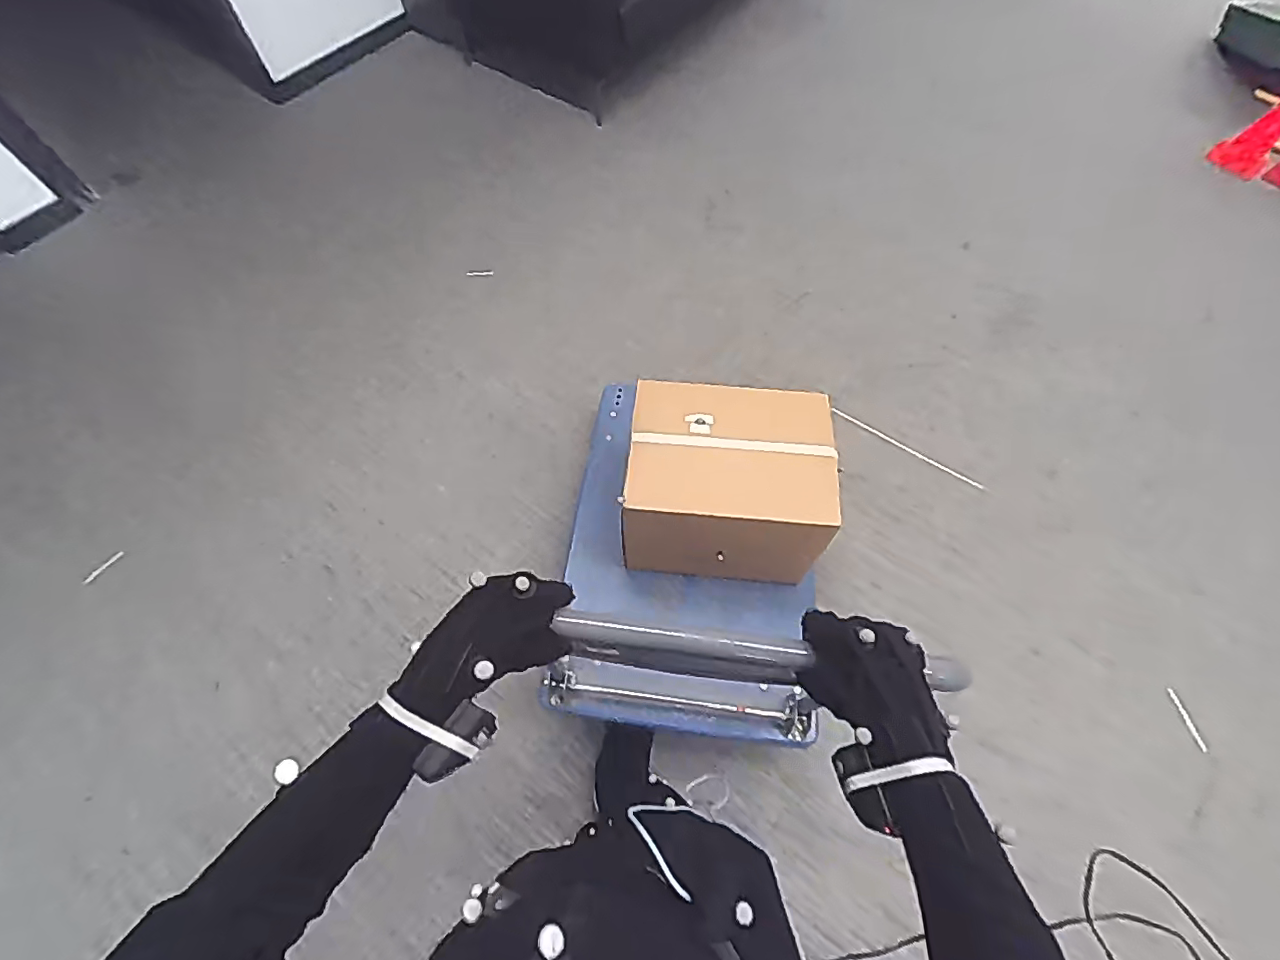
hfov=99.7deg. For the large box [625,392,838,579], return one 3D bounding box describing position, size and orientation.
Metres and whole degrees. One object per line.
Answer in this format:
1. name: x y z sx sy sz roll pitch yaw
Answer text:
1. large box: 0.184 0.022 1.210 0.408 0.320 0.320 3 59 3
